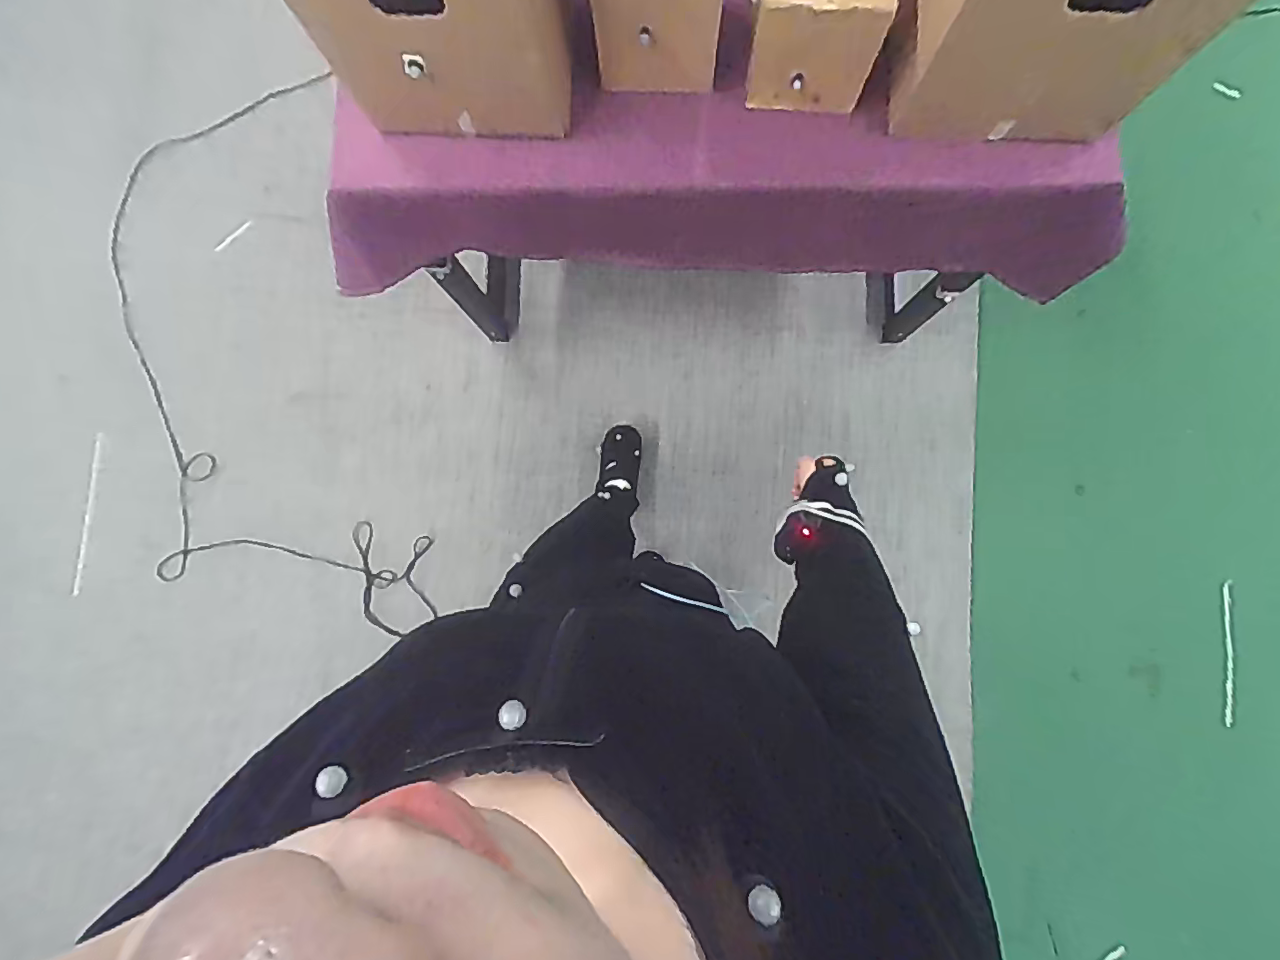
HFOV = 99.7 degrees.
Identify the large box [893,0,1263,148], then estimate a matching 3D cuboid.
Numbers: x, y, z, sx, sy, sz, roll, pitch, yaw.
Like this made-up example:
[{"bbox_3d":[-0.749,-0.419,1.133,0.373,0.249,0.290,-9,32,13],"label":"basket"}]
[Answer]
[{"bbox_3d":[0.545,-0.724,0.693,0.320,0.320,0.408,4,86,2],"label":"large box"}]
